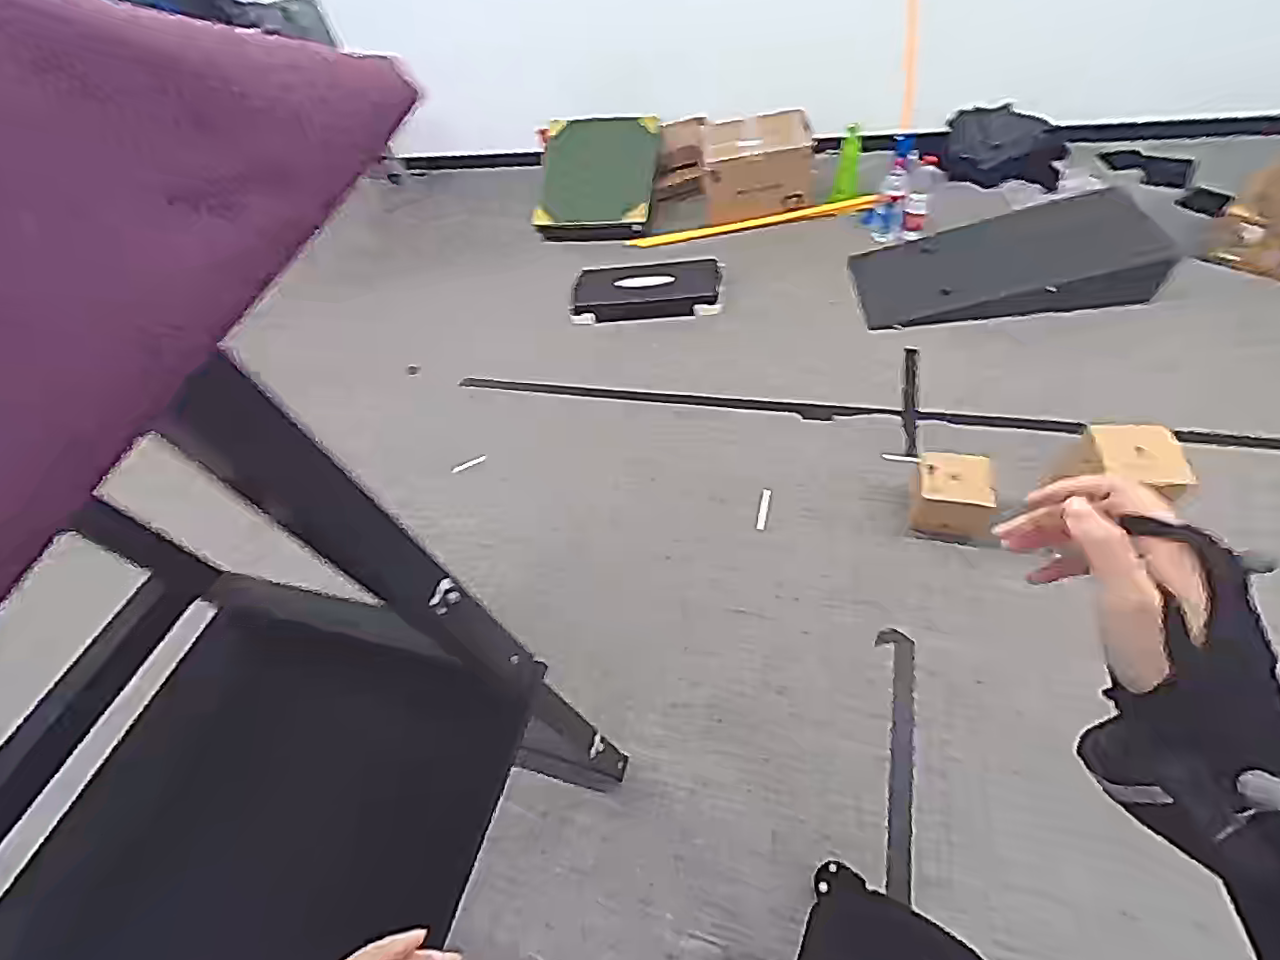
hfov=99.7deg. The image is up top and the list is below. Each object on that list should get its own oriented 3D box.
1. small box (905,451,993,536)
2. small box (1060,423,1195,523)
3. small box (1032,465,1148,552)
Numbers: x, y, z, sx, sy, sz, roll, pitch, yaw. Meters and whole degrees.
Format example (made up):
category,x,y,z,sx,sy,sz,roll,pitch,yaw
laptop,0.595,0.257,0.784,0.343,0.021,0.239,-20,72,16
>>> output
category,x,y,z,sx,sy,sz,roll,pitch,yaw
small box,0.870,0.042,1.535,0.179,0.176,0.168,8,56,15
small box,1.168,-0.018,1.316,0.168,0.176,0.179,3,55,13
small box,1.192,0.079,1.448,0.168,0.176,0.179,2,54,12
